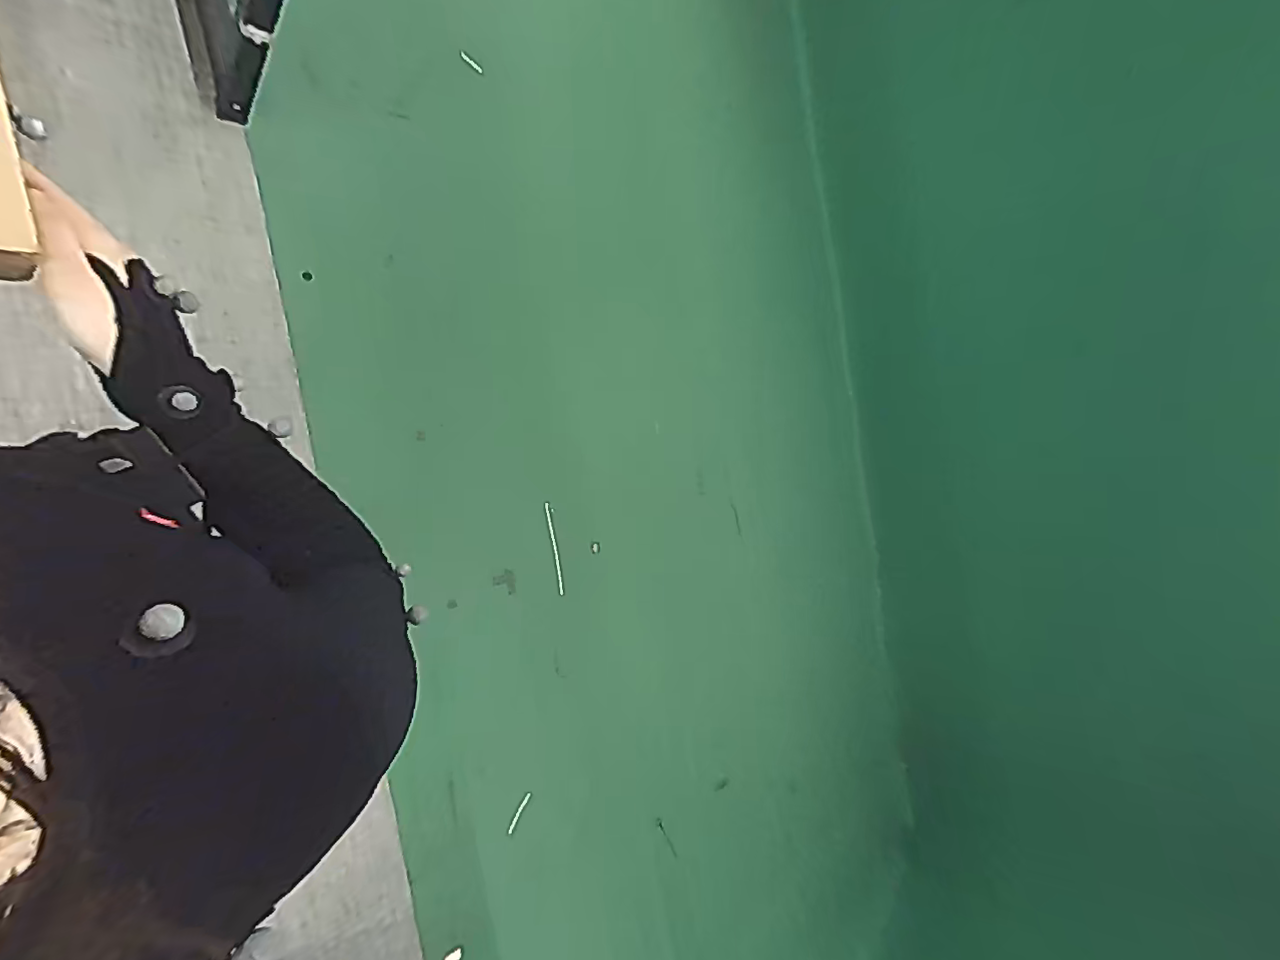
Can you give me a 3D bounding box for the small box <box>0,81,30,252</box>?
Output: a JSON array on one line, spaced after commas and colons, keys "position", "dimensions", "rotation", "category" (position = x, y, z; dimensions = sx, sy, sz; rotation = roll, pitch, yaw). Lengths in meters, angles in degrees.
[{"position": [-0.414, -0.199, 0.237], "dimensions": [0.179, 0.176, 0.168], "rotation": [-14, 112, -46], "category": "small box"}]
